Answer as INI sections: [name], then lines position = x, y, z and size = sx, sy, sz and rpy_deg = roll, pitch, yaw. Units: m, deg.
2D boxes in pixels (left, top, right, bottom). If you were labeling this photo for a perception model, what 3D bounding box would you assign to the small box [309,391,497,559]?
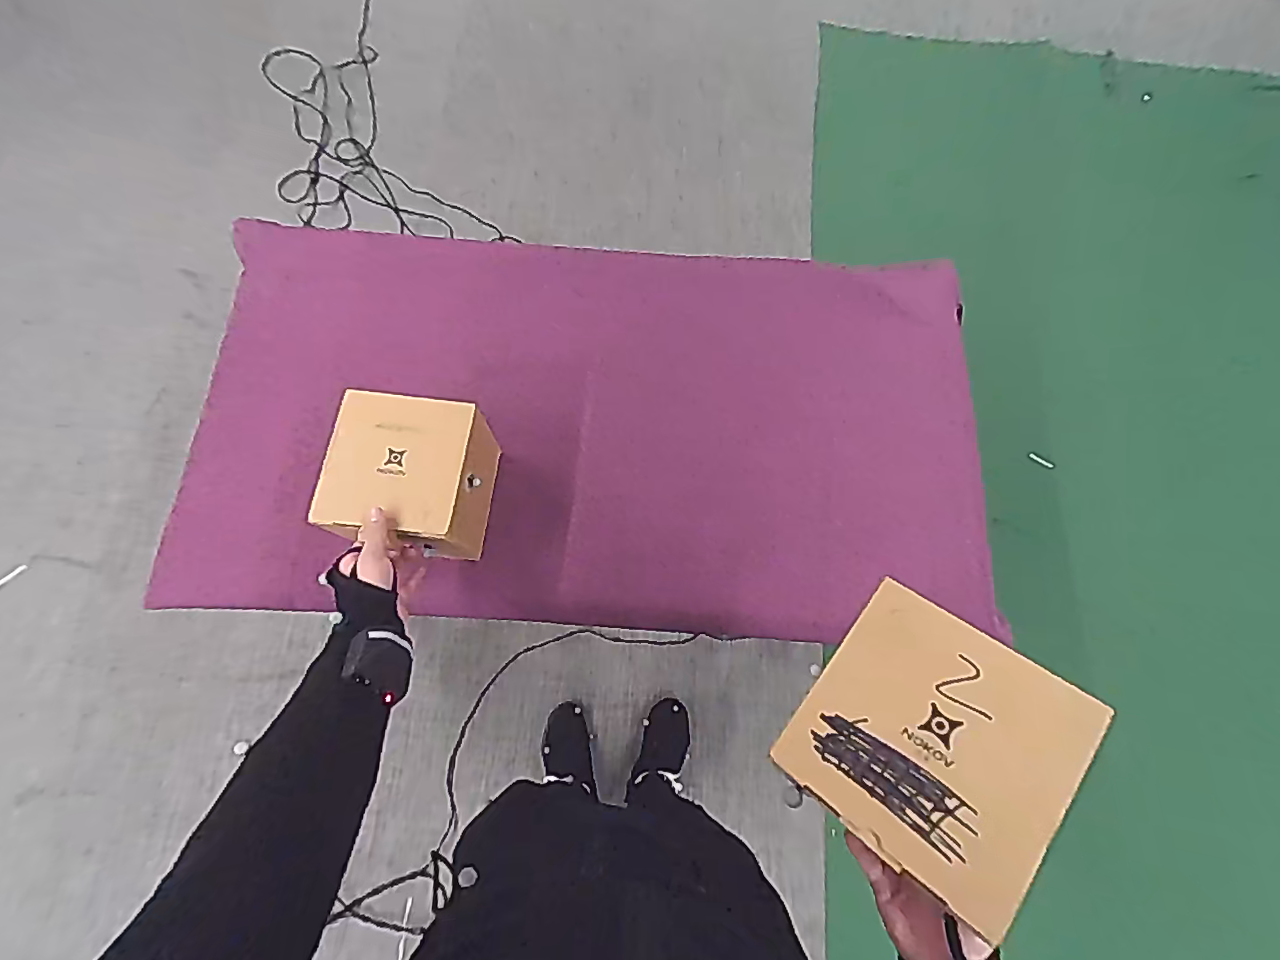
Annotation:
[small box]
position = -0.302, 0.003, 0.735
size = 0.168, 0.176, 0.179
rpy_deg = 7, 71, -1
